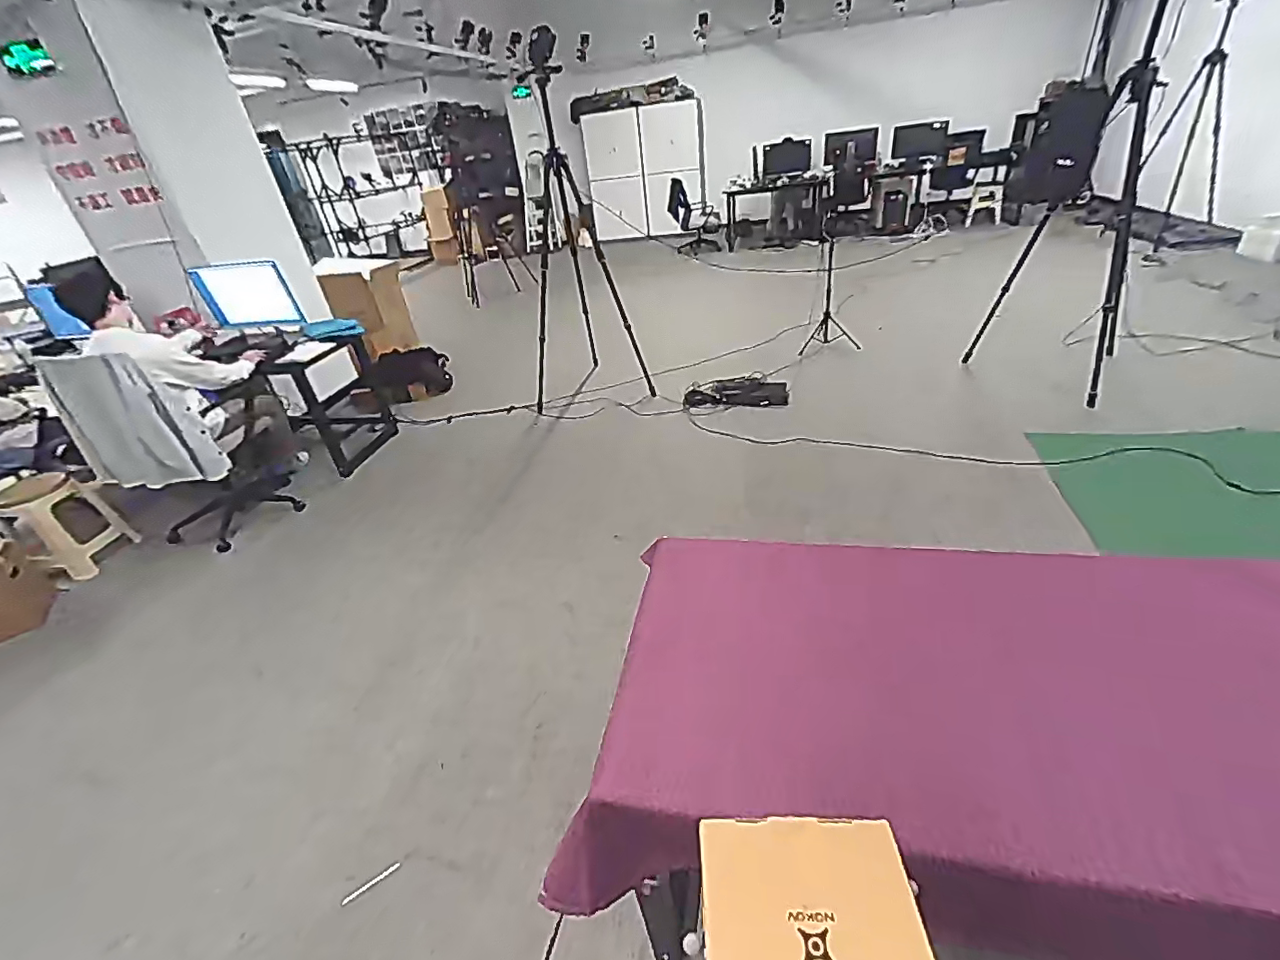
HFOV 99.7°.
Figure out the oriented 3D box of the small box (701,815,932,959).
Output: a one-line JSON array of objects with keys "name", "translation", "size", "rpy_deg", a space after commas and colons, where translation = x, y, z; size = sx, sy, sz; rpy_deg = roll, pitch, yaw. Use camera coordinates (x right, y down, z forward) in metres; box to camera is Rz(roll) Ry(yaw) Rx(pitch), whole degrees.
[{"name": "small box", "translation": [0.139, 0.412, 0.446], "size": [0.168, 0.176, 0.179], "rpy_deg": [-4, 28, 6]}]
